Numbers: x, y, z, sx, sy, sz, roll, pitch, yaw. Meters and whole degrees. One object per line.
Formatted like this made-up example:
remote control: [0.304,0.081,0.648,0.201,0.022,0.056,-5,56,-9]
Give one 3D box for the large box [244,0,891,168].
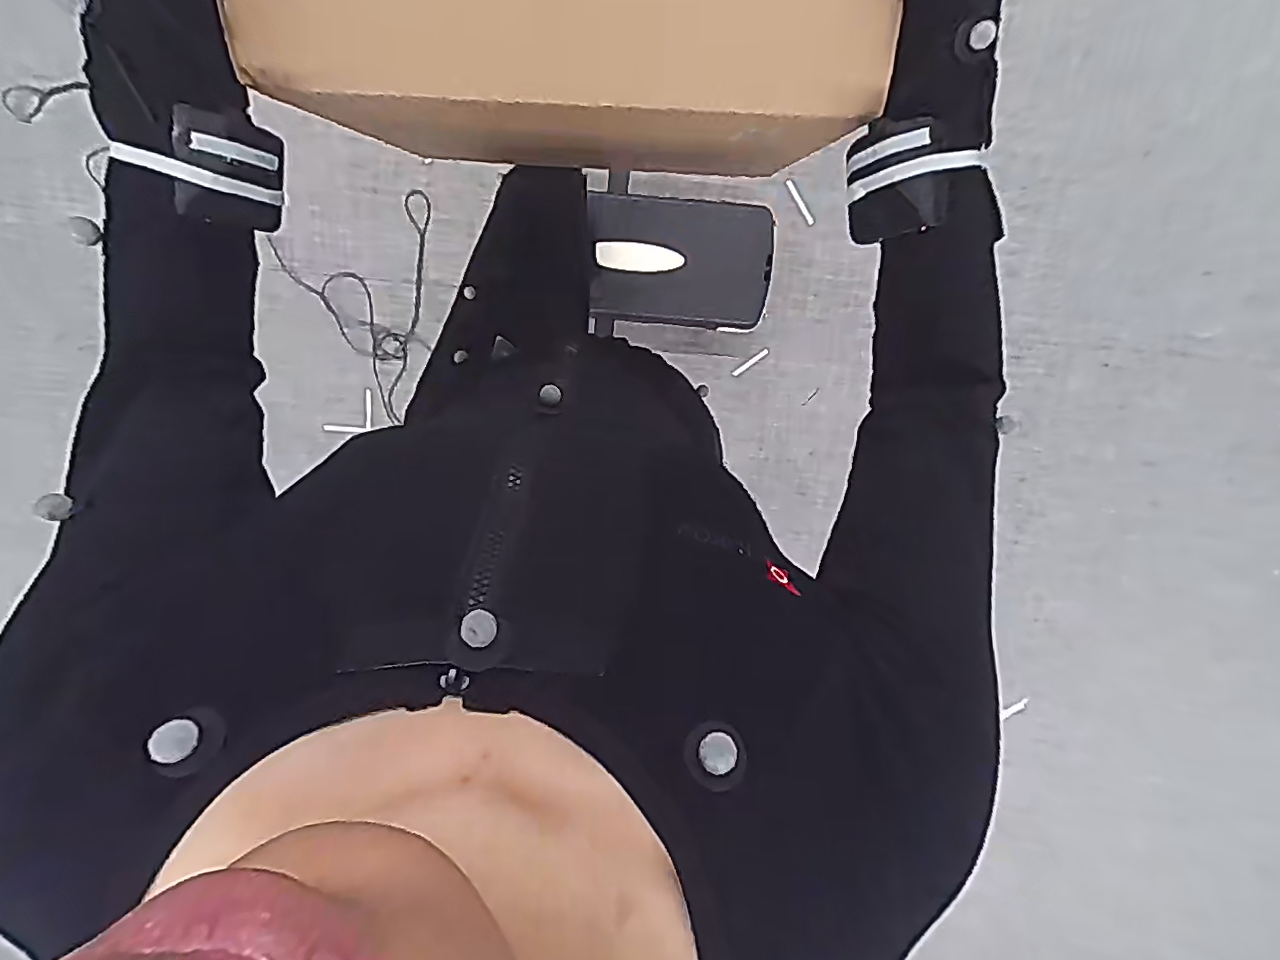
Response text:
large box: [-0.042,-0.449,0.428,0.408,0.320,0.320,2,113,-1]
